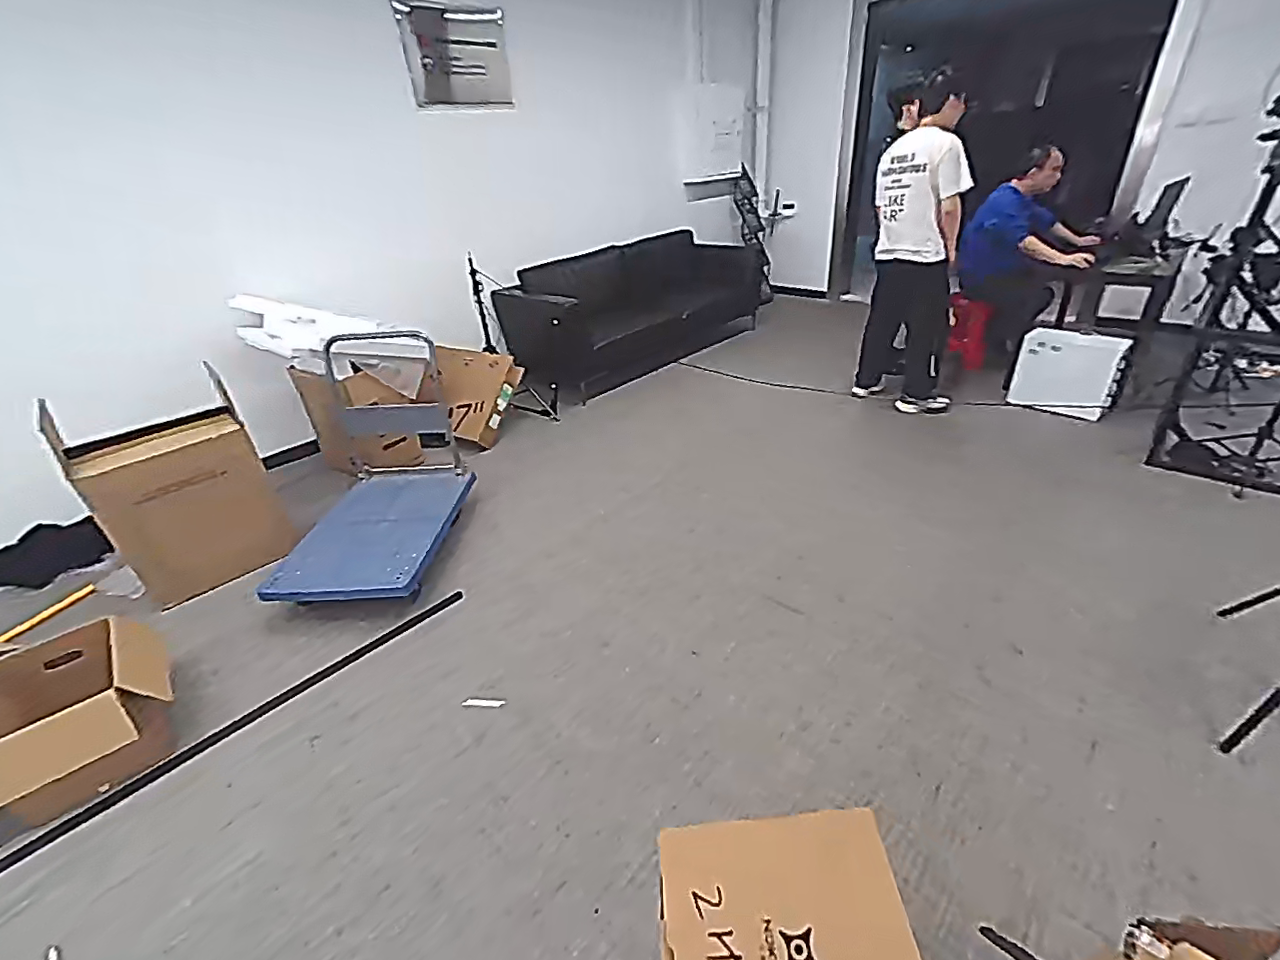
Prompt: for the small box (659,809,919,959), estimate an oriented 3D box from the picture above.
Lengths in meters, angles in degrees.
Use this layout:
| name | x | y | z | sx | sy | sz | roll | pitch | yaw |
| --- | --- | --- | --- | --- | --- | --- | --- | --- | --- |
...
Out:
| name | x | y | z | sx | sy | sz | roll | pitch | yaw |
| --- | --- | --- | --- | --- | --- | --- | --- | --- | --- |
| small box | 0.117 | 0.387 | 0.425 | 0.179 | 0.176 | 0.168 | -10 | 37 | 6 |
